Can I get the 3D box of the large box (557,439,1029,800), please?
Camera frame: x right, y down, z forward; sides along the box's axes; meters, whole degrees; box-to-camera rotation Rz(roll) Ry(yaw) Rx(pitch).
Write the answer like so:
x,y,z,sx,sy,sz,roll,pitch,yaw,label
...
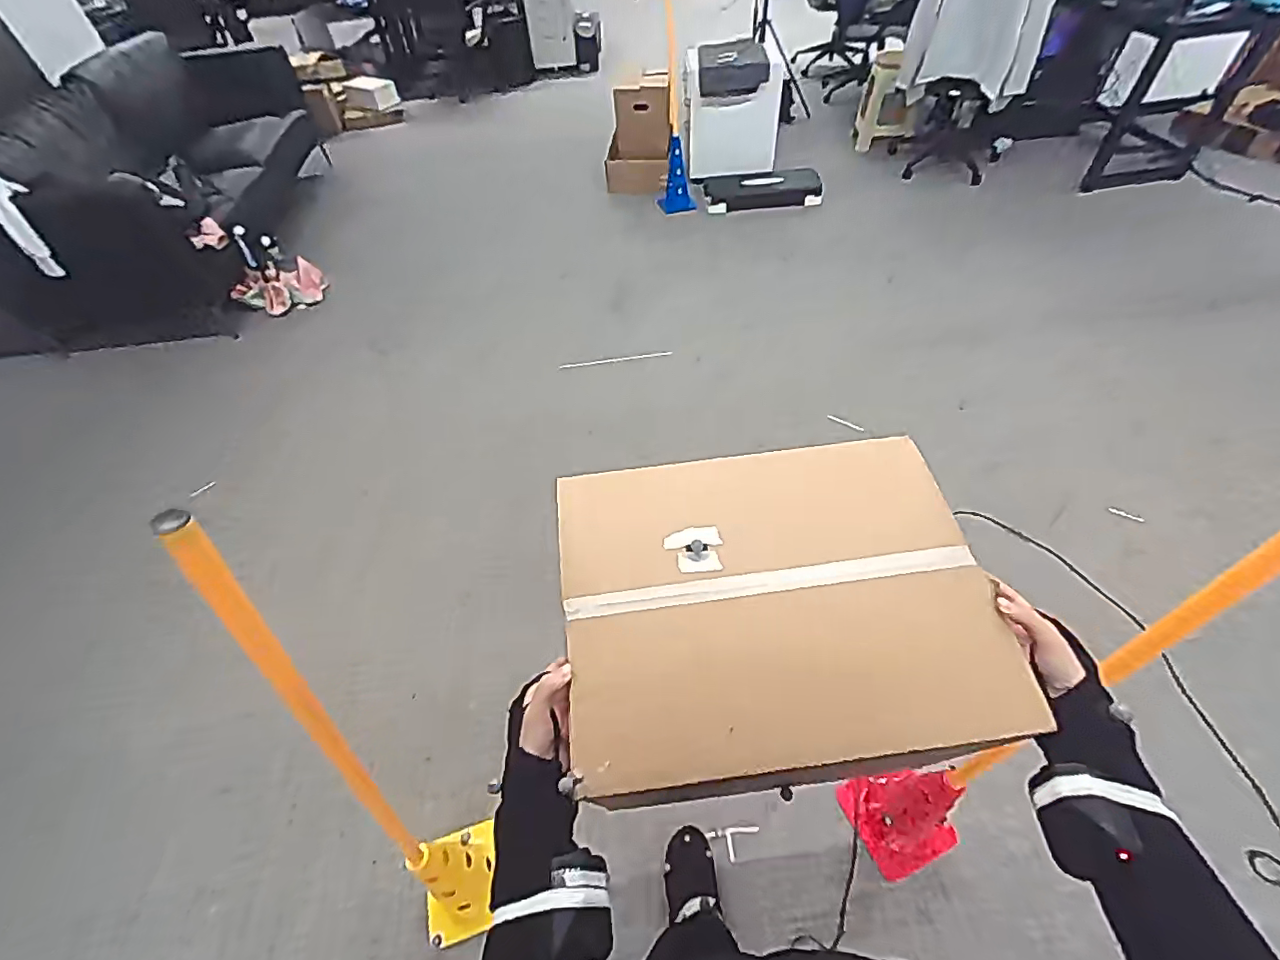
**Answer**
x,y,z,sx,sy,sz,roll,pitch,yaw,label
0.132,0.185,0.663,0.408,0.320,0.320,-8,57,-1,large box
